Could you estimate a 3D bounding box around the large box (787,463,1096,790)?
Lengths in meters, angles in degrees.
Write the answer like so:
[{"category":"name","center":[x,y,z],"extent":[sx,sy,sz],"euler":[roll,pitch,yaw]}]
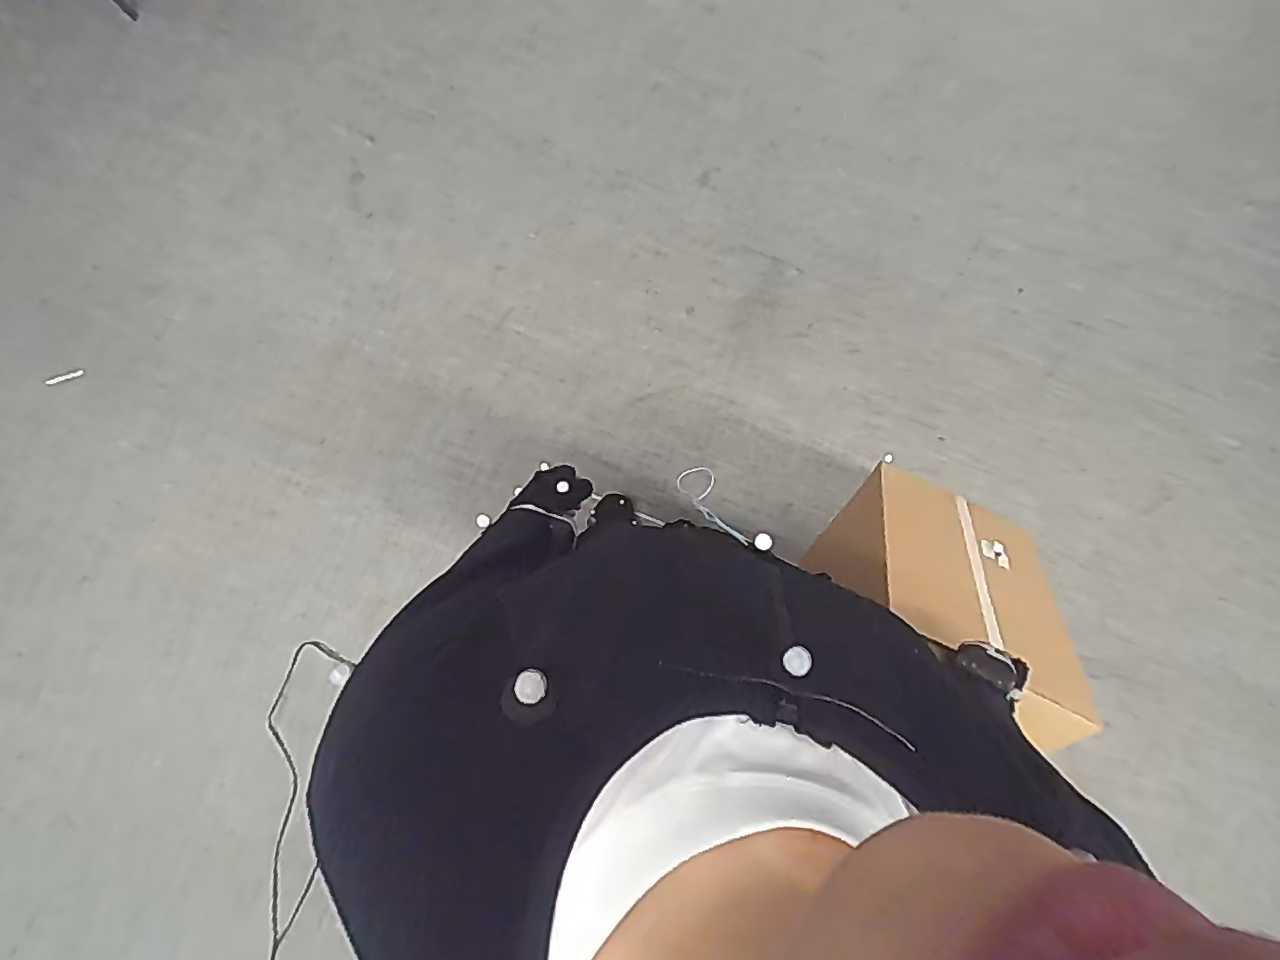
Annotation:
[{"category":"large box","center":[0.487,0.249,0.971],"extent":[0.320,0.408,0.320],"euler":[27,130,2]}]
